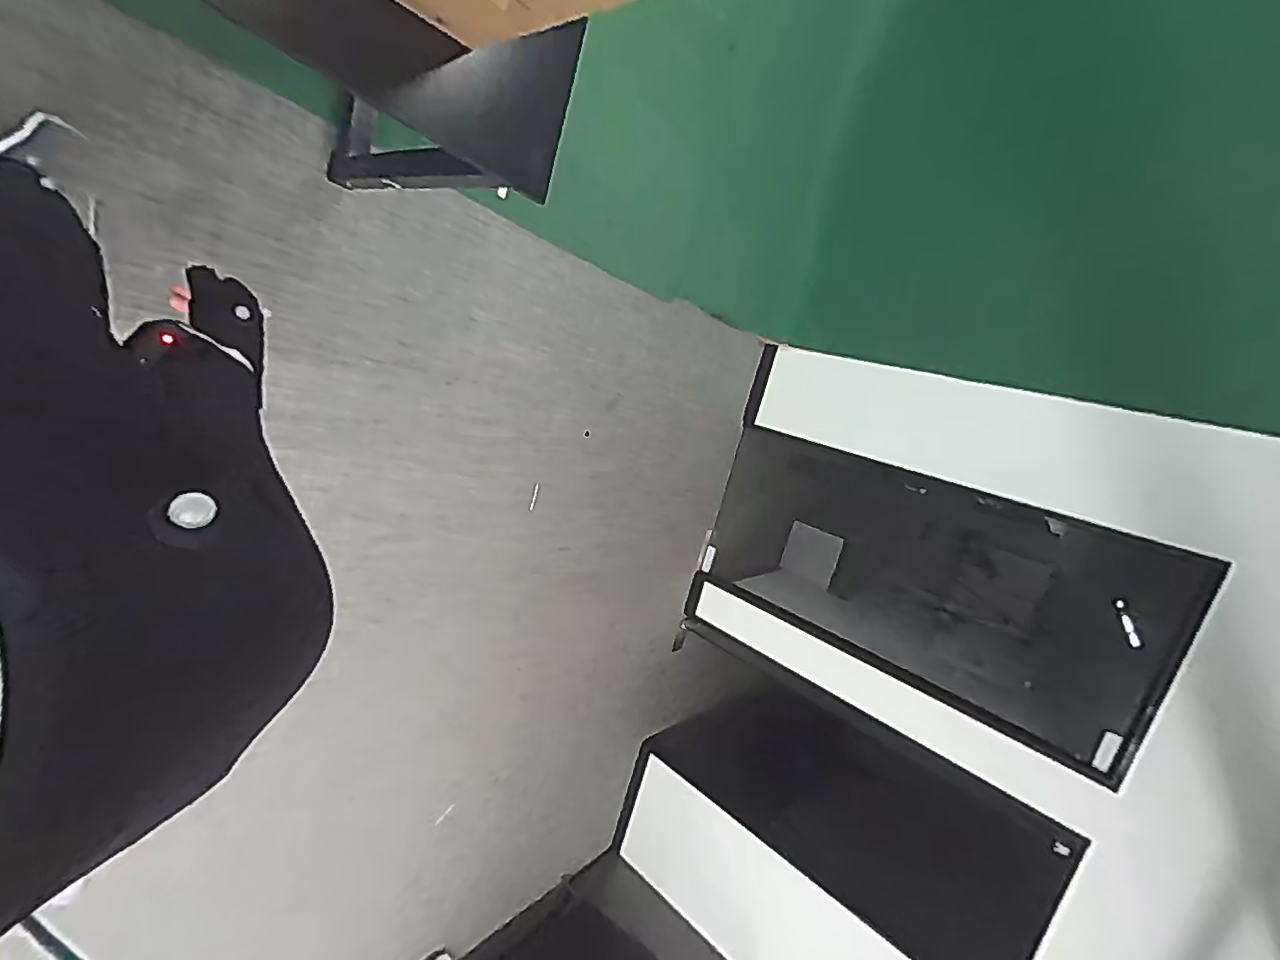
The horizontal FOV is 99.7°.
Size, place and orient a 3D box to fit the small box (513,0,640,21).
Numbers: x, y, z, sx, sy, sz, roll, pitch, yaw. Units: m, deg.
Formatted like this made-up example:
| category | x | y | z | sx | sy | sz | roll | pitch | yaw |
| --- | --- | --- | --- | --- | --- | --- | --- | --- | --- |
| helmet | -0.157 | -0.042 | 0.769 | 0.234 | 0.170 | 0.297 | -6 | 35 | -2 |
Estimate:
| category | x | y | z | sx | sy | sz | roll | pitch | yaw |
| --- | --- | --- | --- | --- | --- | --- | --- | --- | --- |
| small box | -0.078 | -0.569 | 0.487 | 0.168 | 0.176 | 0.179 | -8 | 114 | -50 |
